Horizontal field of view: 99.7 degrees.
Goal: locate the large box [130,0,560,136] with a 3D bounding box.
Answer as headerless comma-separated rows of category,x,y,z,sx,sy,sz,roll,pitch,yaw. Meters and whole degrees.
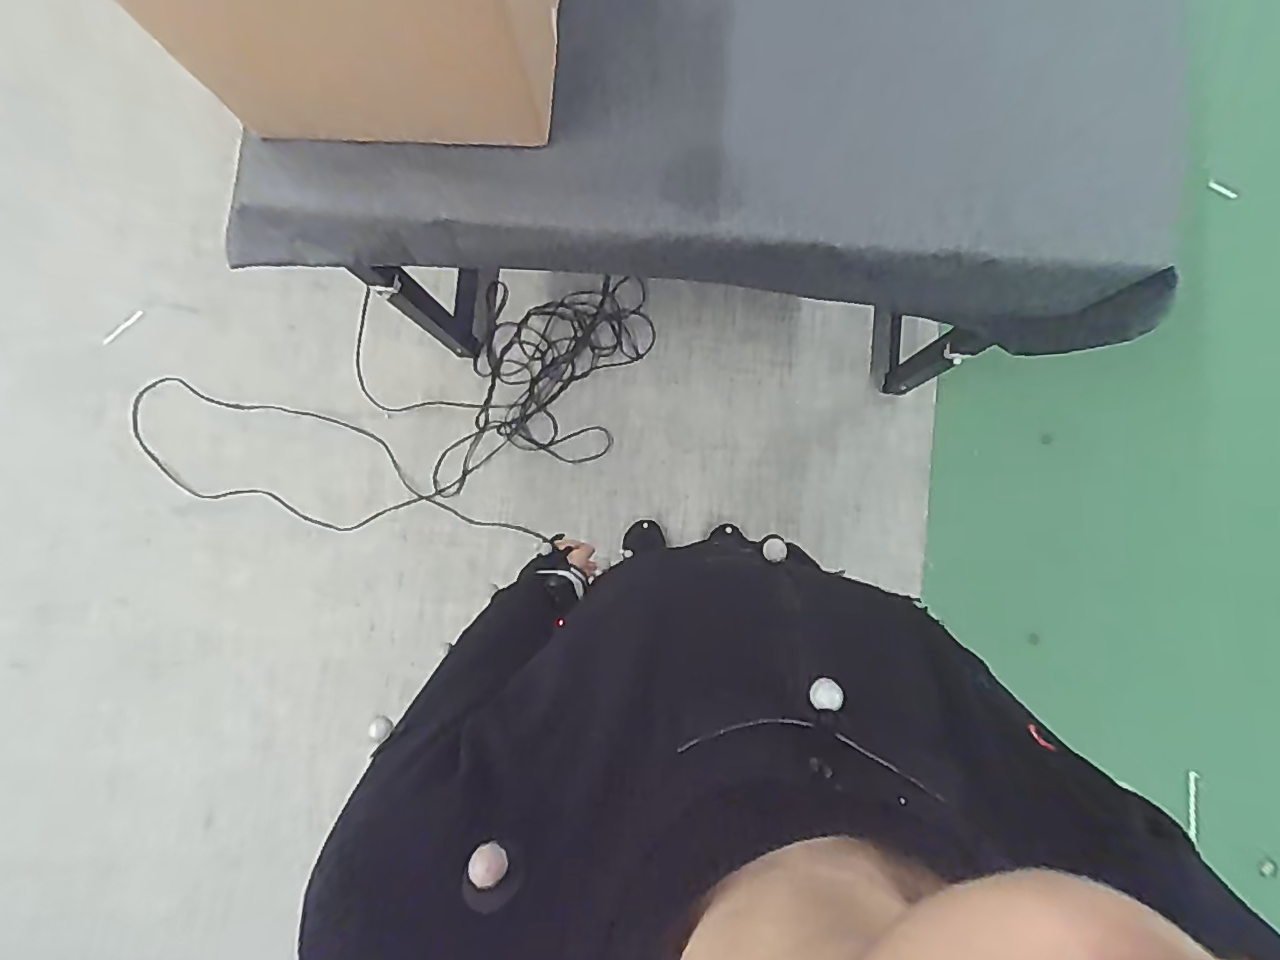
large box,-0.310,-0.618,0.579,0.408,0.320,0.320,3,86,1
